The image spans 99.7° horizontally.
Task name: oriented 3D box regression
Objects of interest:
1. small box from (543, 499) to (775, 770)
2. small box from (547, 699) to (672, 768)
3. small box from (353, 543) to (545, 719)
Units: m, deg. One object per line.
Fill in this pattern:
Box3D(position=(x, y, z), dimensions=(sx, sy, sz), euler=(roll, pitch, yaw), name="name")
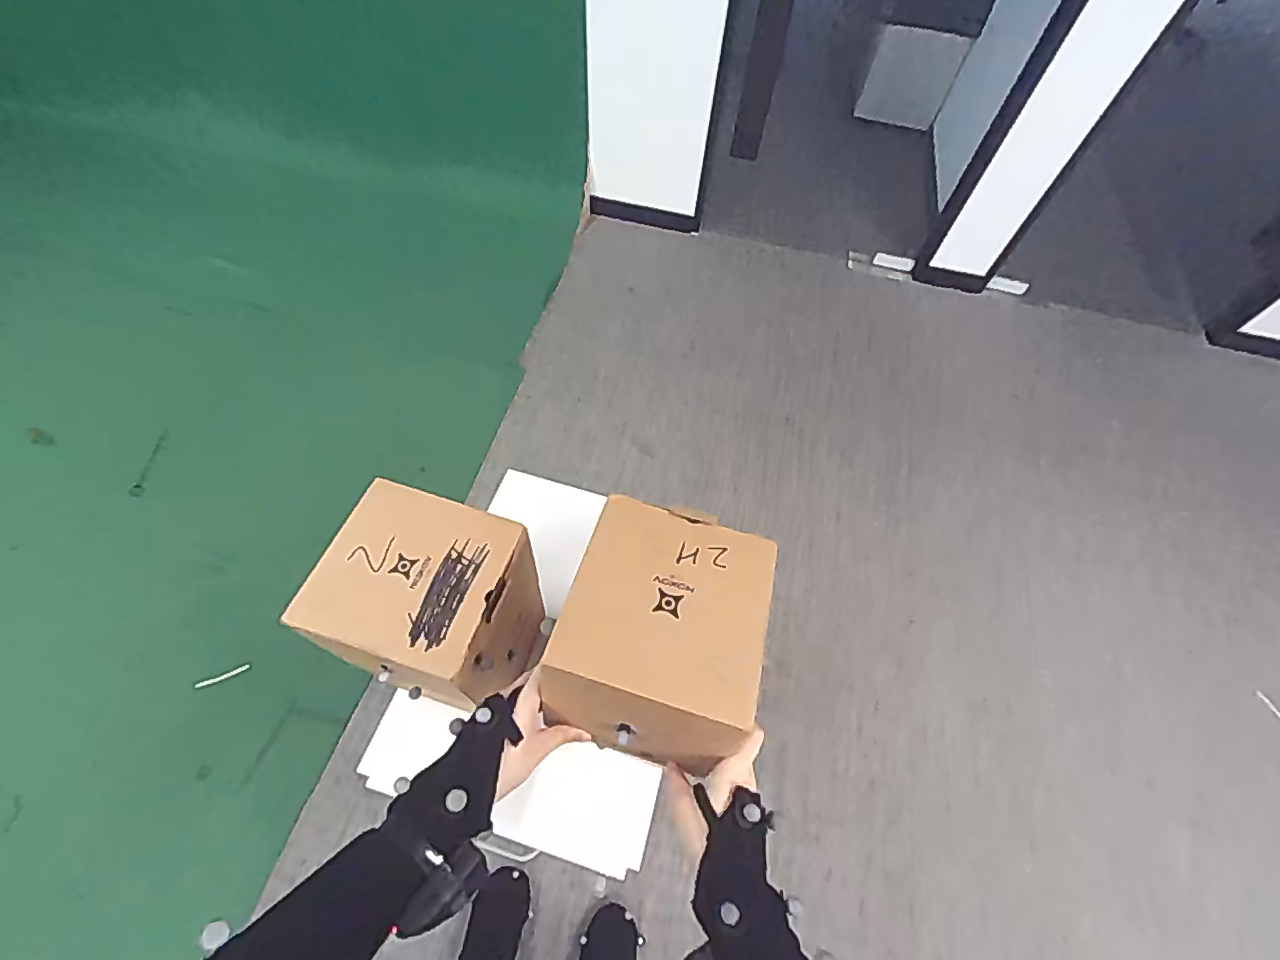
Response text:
Box3D(position=(0.016, 0.153, 0.522), dimensions=(0.168, 0.176, 0.179), euler=(17, 50, 4), name="small box")
Box3D(position=(-0.008, 0.273, 0.729), dimensions=(0.179, 0.176, 0.168), euler=(18, 59, 7), name="small box")
Box3D(position=(-0.245, 0.214, 0.744), dimensions=(0.179, 0.176, 0.168), euler=(17, 59, 5), name="small box")
